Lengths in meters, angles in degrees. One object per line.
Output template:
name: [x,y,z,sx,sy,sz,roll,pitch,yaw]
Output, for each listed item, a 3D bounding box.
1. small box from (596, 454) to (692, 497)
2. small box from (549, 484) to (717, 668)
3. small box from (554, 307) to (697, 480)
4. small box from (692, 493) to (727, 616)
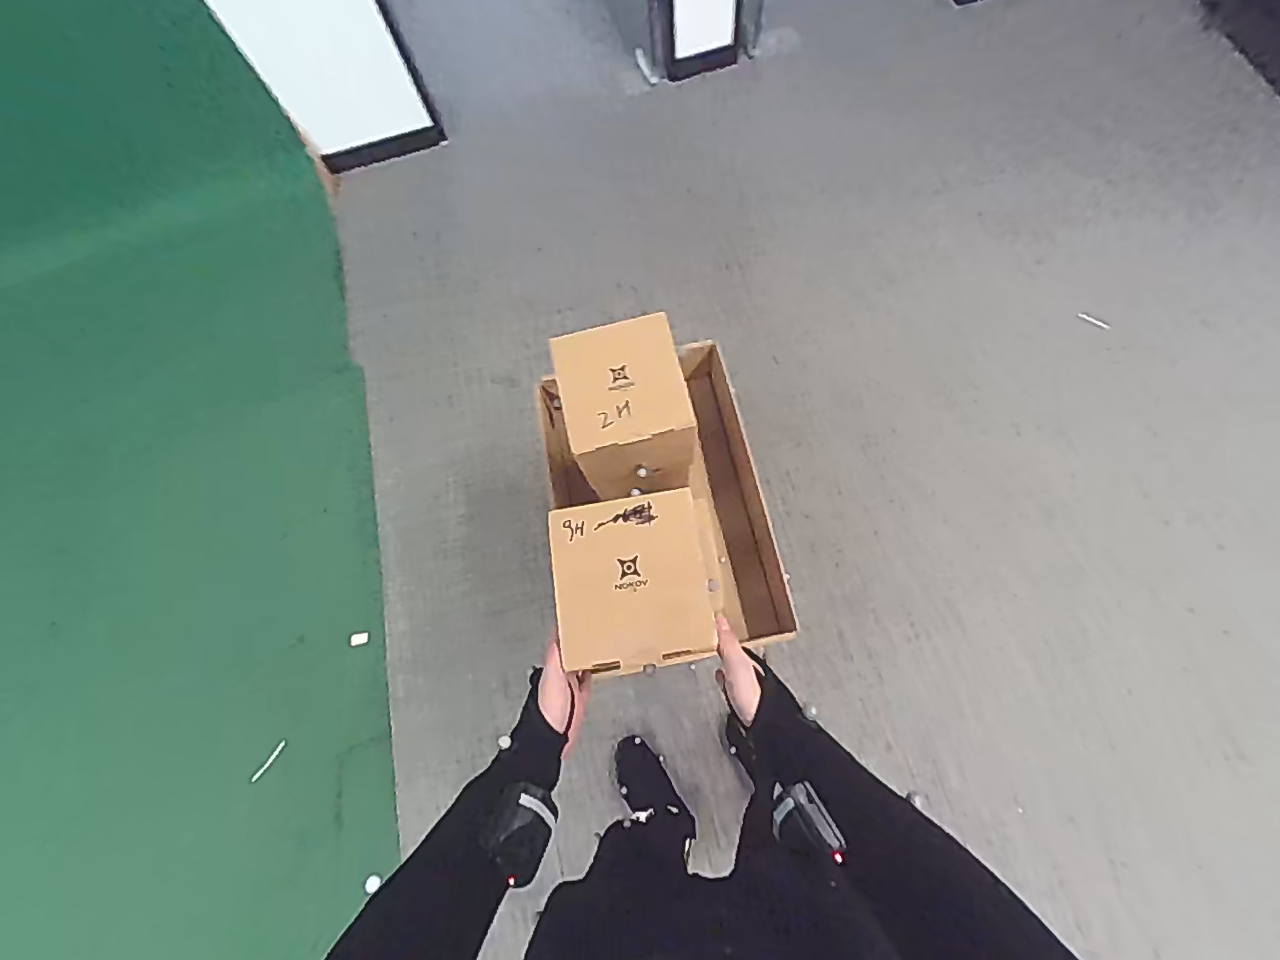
small box: [-0.008,-0.084,0.953,0.168,0.176,0.179,-12,74,1]
small box: [-0.002,0.120,0.656,0.168,0.176,0.179,-10,73,3]
small box: [-0.019,-0.118,0.791,0.168,0.176,0.179,-13,74,1]
small box: [0.042,0.137,0.870,0.168,0.176,0.179,-9,70,1]
